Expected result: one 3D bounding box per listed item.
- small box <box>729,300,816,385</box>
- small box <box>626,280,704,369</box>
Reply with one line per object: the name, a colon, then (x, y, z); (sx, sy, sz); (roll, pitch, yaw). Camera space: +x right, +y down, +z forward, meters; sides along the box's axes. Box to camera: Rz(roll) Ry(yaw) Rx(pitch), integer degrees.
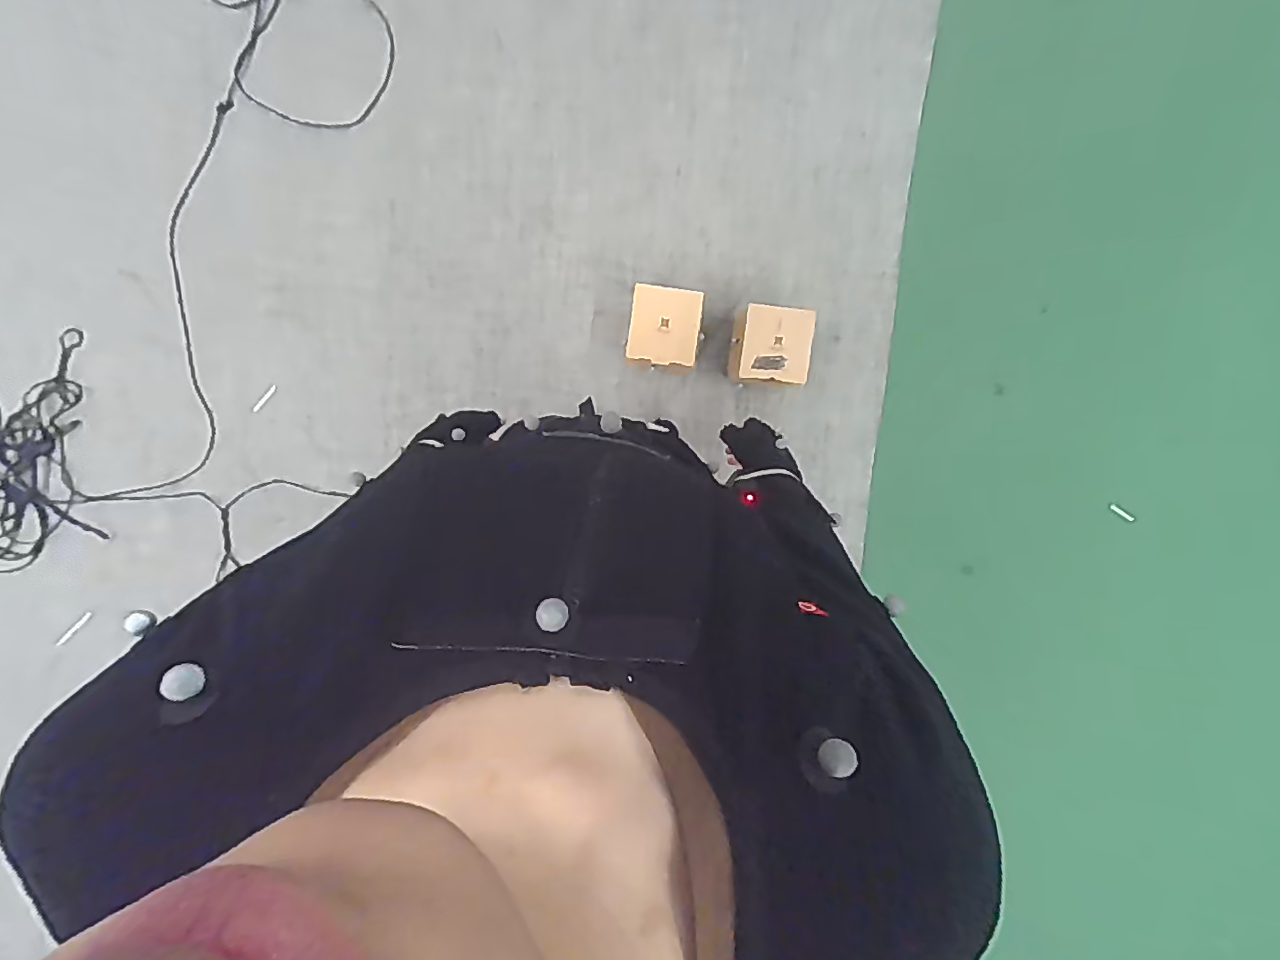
small box: (0.322, -0.335, 1.355); (0.168, 0.176, 0.179); (7, 96, -1)
small box: (0.057, -0.380, 1.349); (0.168, 0.176, 0.179); (7, 97, -1)
